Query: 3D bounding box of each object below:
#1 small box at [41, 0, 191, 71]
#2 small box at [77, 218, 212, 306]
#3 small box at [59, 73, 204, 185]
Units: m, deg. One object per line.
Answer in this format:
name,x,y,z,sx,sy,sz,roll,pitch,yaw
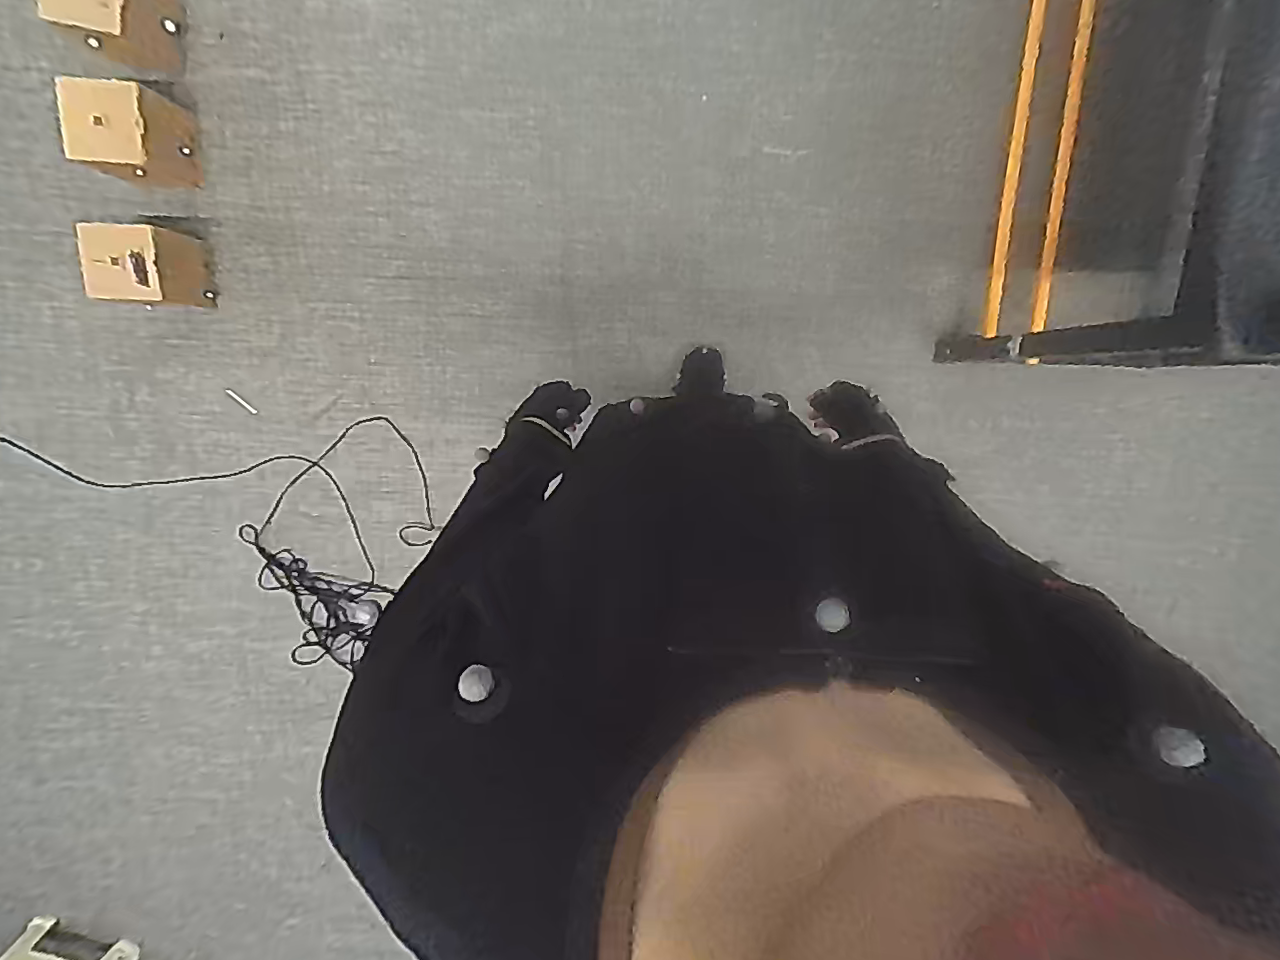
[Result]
small box,-1.160,-1.056,1.204,0.179,0.176,0.168,11,101,-3
small box,-1.177,-0.518,1.304,0.179,0.176,0.168,2,100,0
small box,-1.165,-0.804,1.252,0.179,0.176,0.168,3,101,-1
